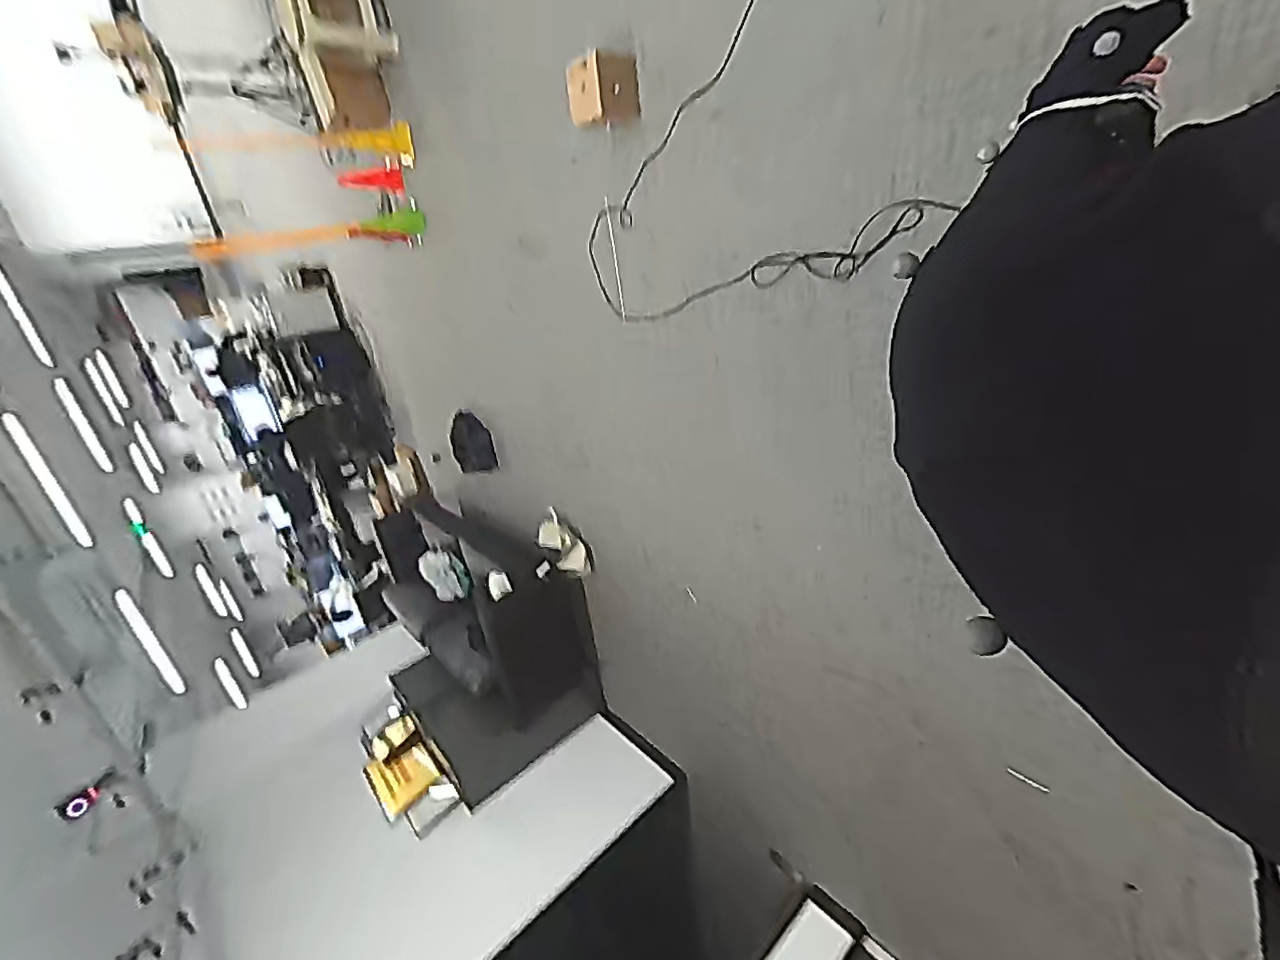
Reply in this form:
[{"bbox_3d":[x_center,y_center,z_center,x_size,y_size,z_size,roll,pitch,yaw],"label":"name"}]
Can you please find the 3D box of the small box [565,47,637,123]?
[{"bbox_3d":[-0.125,-1.310,1.801,0.168,0.176,0.179,20,126,44],"label":"small box"}]
